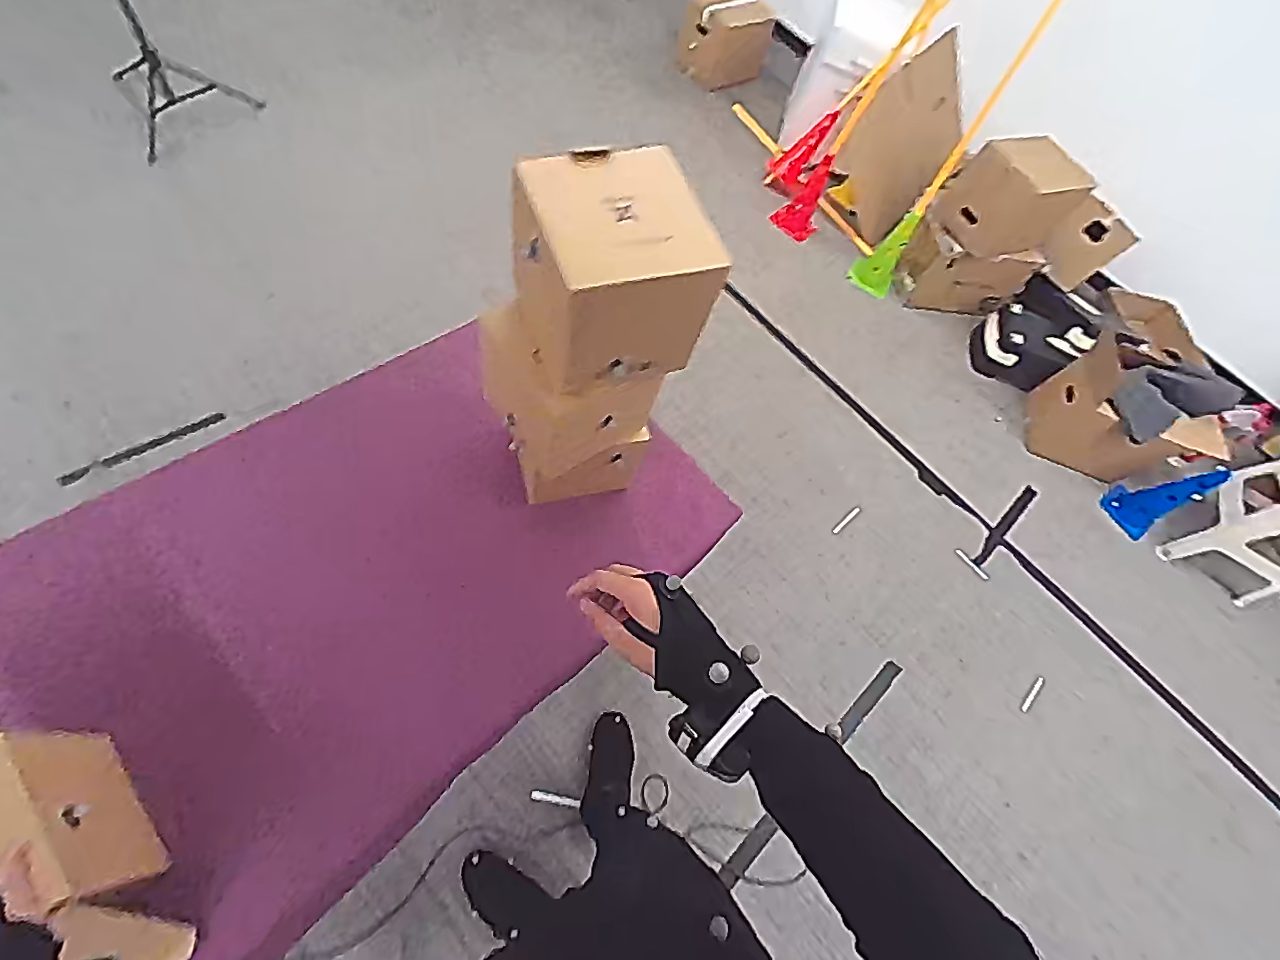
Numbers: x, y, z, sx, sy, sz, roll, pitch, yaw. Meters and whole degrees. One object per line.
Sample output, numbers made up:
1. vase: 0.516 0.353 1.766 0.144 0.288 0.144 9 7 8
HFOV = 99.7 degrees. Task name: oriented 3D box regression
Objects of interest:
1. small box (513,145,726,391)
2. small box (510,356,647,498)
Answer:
1. small box: -0.037 -0.225 0.587 0.168 0.176 0.179 -16 70 -18
2. small box: -0.109 -0.087 0.876 0.179 0.176 0.168 -10 67 -18
